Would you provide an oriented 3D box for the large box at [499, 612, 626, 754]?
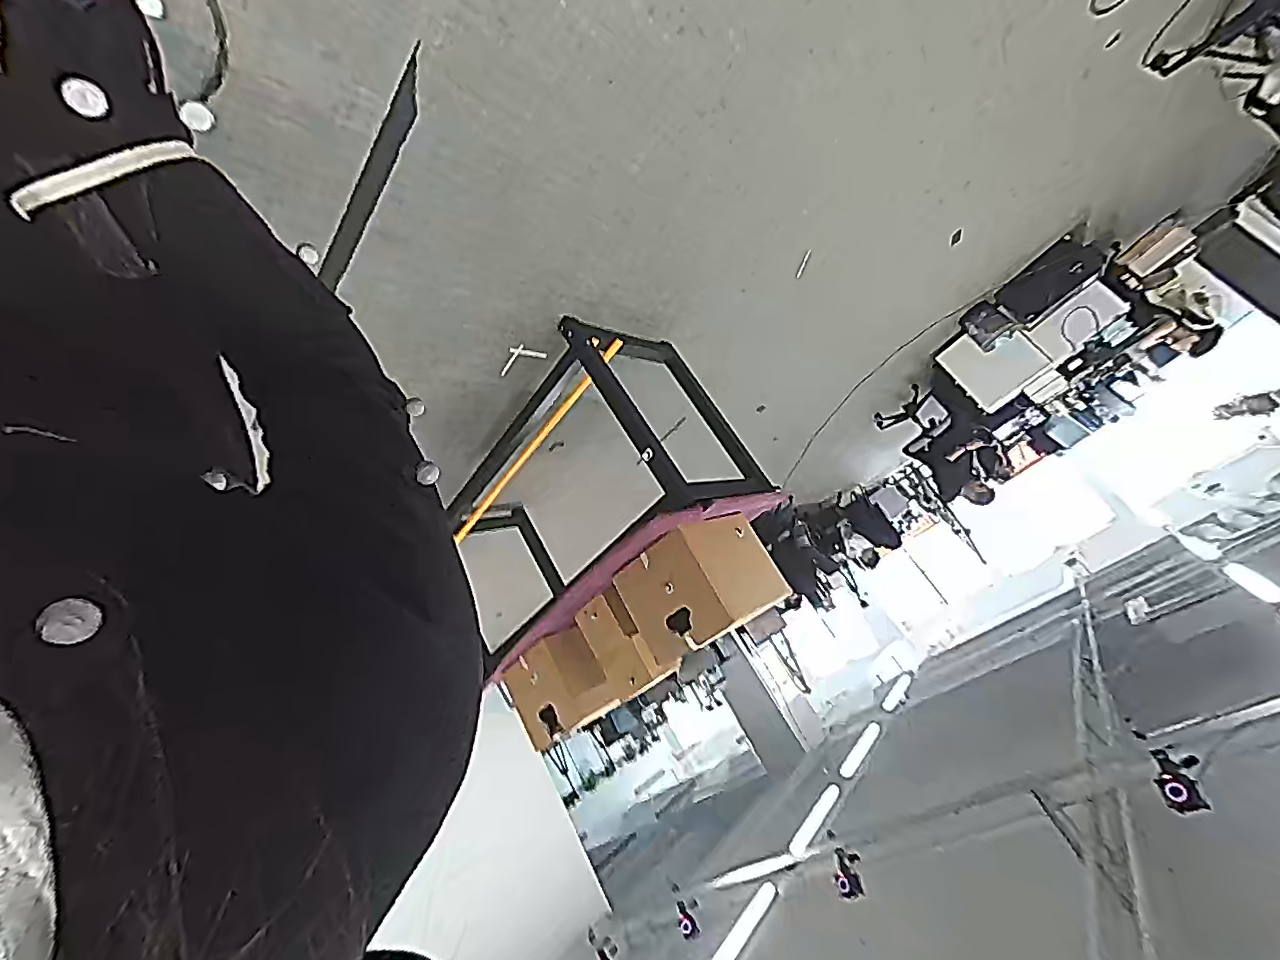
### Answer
[{"bbox_3d":[-0.246,0.751,2.048,0.320,0.320,0.408,-44,158,30],"label":"large box"}]

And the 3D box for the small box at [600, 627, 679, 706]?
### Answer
[{"bbox_3d":[-0.010,0.623,1.819,0.179,0.176,0.168,-45,156,29],"label":"small box"}]
